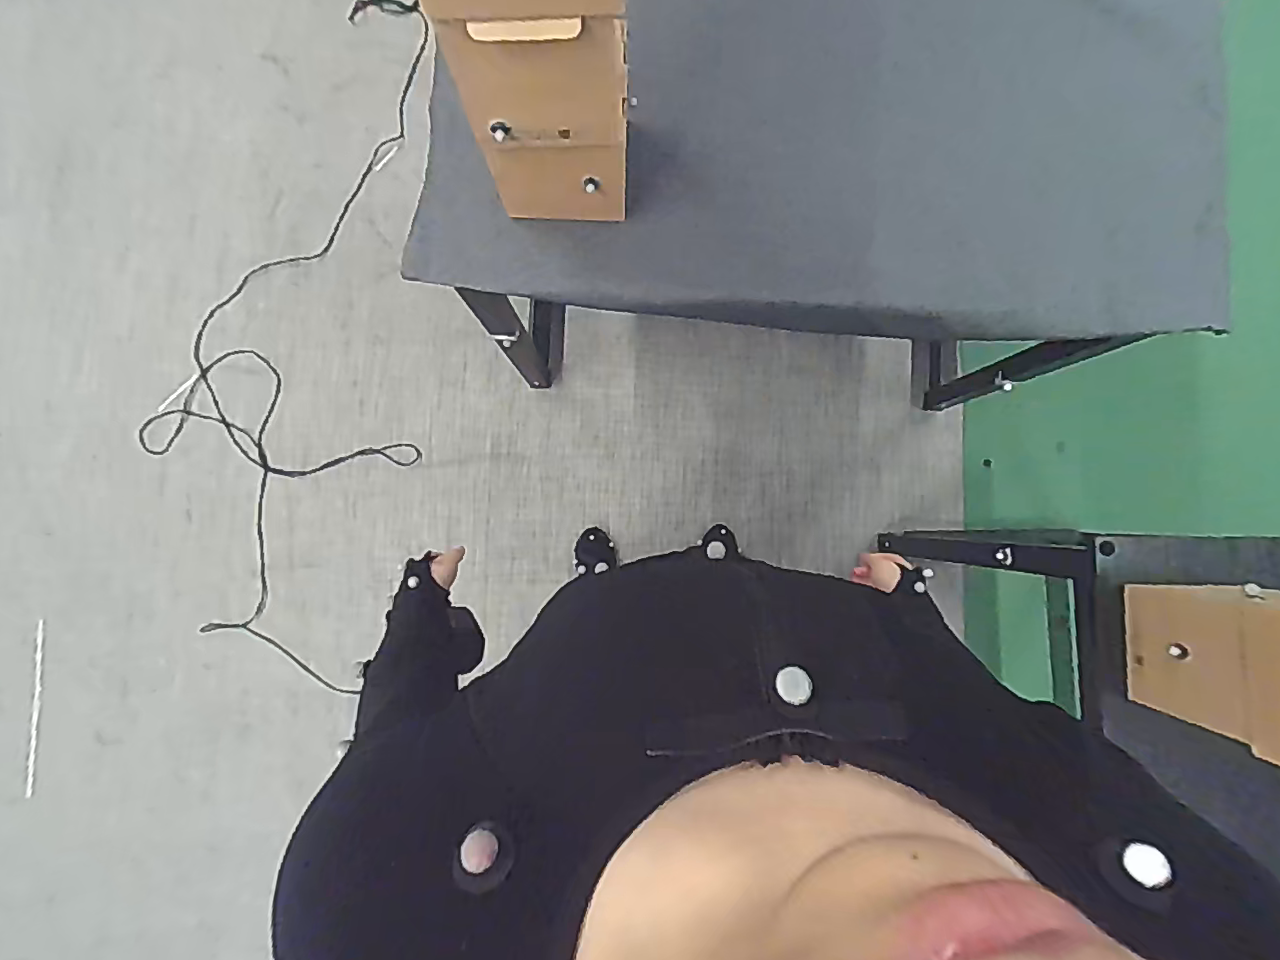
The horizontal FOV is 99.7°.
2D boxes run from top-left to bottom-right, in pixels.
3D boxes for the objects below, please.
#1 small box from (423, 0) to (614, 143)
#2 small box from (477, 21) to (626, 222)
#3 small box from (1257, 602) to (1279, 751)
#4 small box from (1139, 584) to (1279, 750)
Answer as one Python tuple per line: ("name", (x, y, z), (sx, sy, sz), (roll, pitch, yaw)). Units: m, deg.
("small box", (-0.116, -0.485, 0.567), (0.168, 0.176, 0.179), (-3, 83, -2))
("small box", (-0.108, -0.472, 0.731), (0.179, 0.176, 0.168), (1, 84, 0))
("small box", (0.771, 0.222, 0.523), (0.168, 0.176, 0.179), (1, 86, 0))
("small box", (0.786, 0.227, 0.686), (0.179, 0.176, 0.168), (1, 87, -1))
